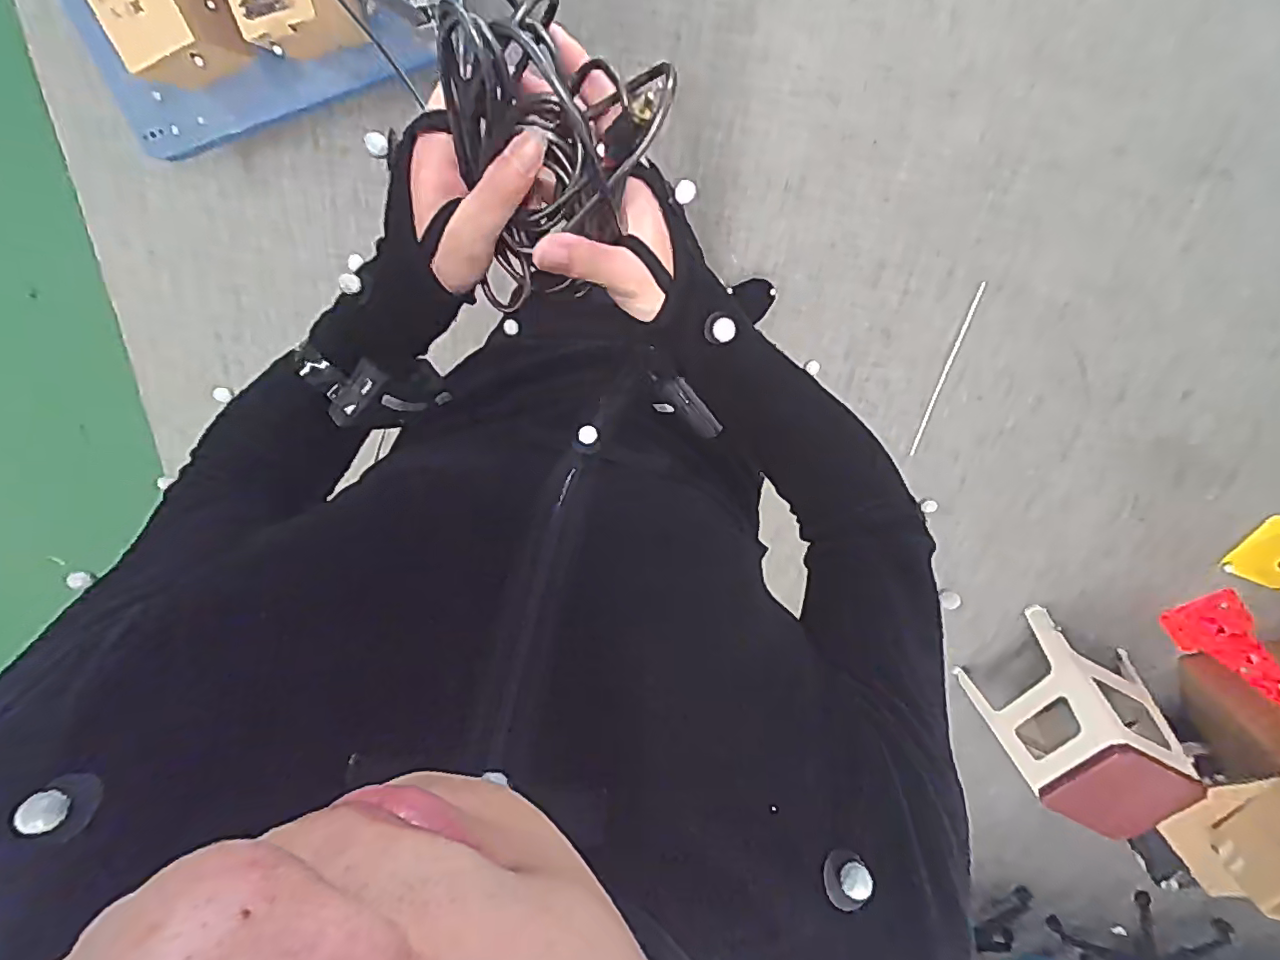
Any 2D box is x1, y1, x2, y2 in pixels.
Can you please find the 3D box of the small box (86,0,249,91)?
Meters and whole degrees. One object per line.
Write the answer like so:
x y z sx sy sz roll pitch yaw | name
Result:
-0.942 -0.922 1.091 0.179 0.176 0.168 -12 114 15 | small box
